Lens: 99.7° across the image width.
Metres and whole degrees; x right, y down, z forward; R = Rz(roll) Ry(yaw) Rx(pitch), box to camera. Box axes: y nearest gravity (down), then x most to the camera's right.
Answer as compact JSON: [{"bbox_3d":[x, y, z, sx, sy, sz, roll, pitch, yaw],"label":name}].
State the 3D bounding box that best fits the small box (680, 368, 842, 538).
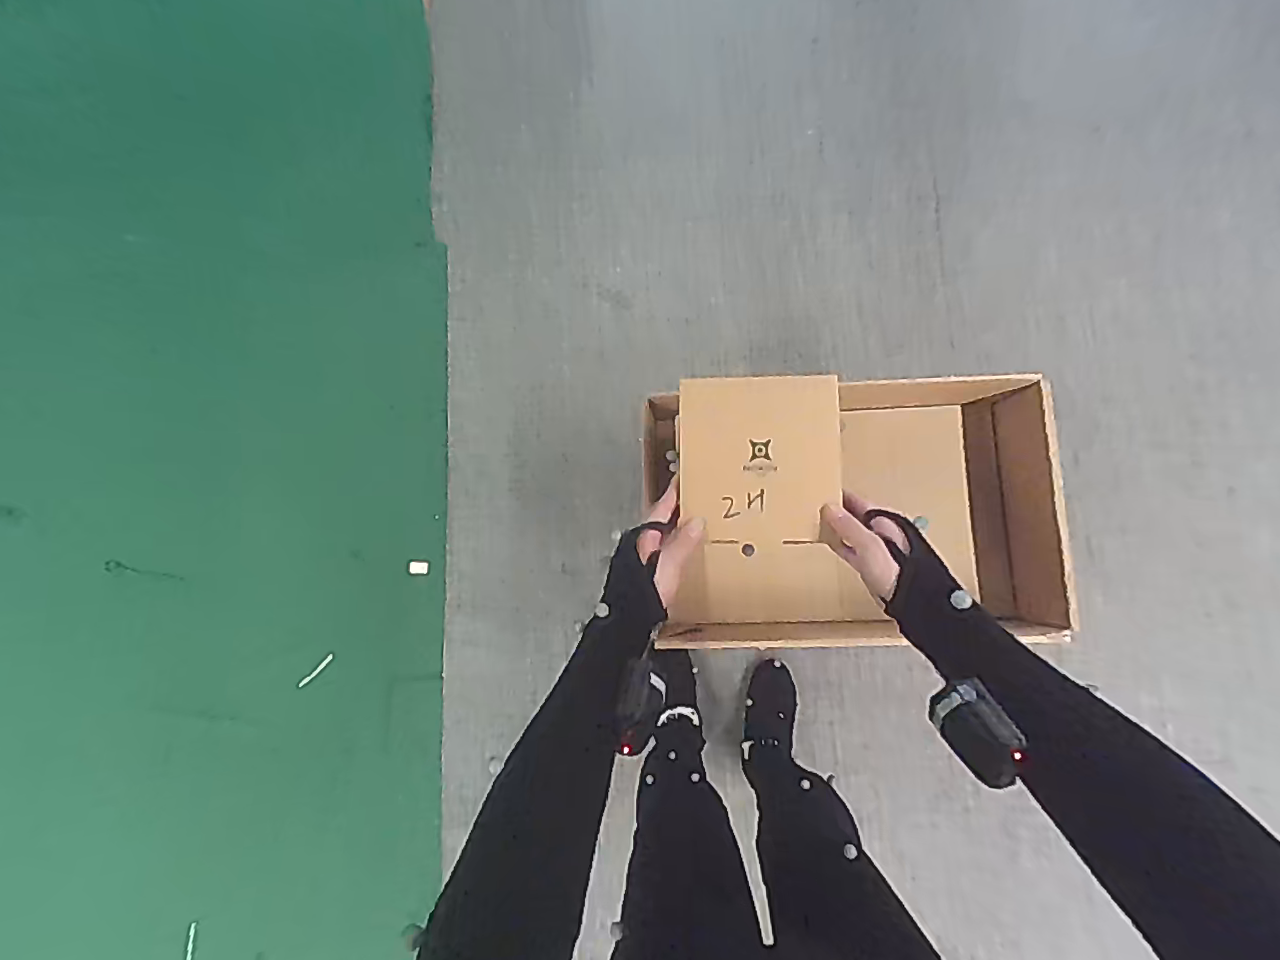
[{"bbox_3d":[0.132,-0.022,0.640,0.168,0.176,0.179,1,85,5],"label":"small box"}]
